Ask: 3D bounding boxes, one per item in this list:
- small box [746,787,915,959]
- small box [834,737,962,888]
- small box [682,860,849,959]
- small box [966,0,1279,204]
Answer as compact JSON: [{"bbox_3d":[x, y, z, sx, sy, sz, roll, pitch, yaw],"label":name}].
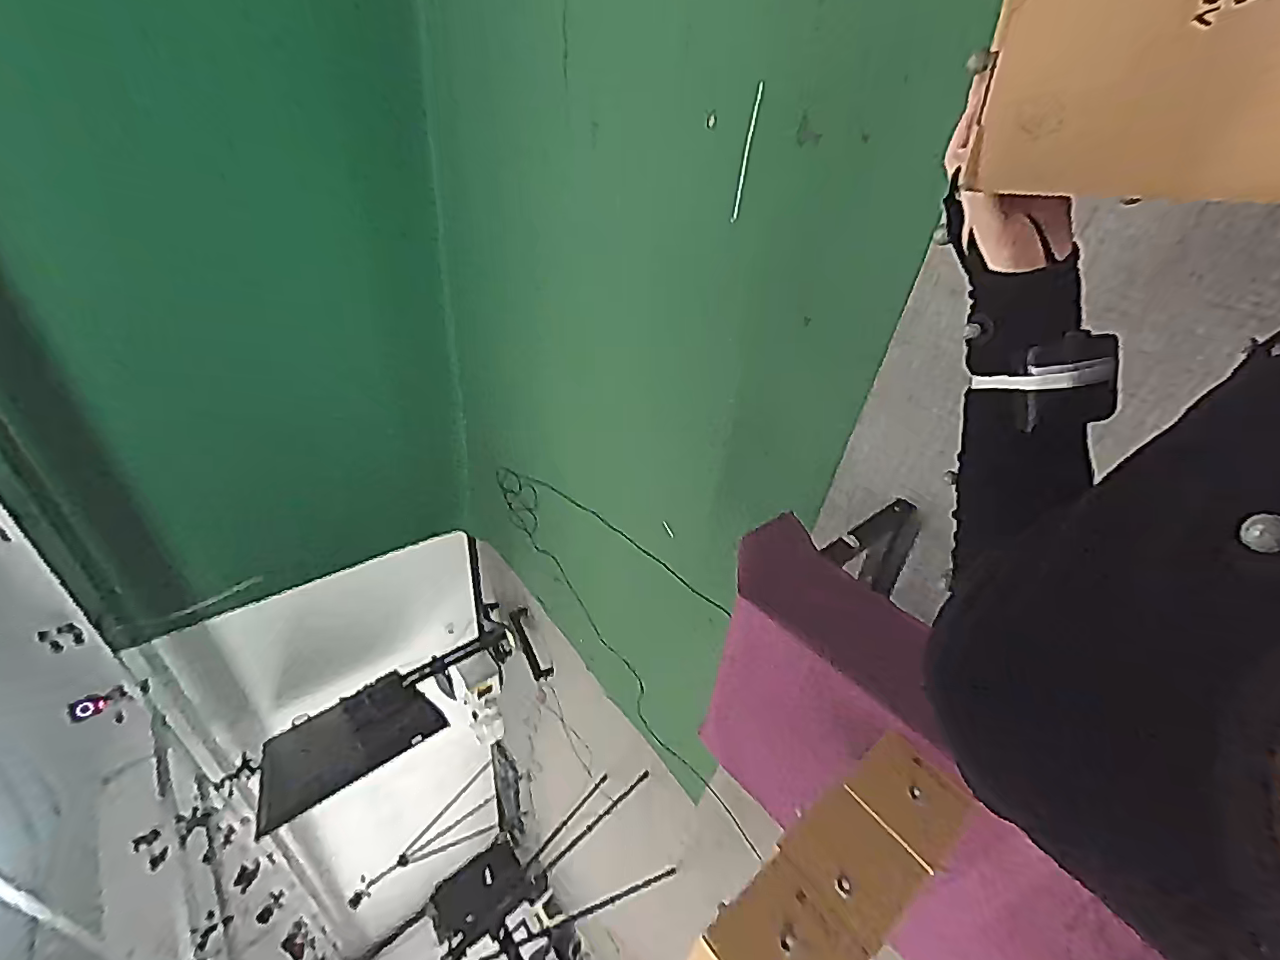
[{"bbox_3d":[0.305,0.649,0.876,0.179,0.176,0.168,40,135,35],"label":"small box"},{"bbox_3d":[0.437,0.602,0.964,0.168,0.176,0.179,39,136,36],"label":"small box"},{"bbox_3d":[0.180,0.705,0.786,0.168,0.176,0.179,40,135,35],"label":"small box"},{"bbox_3d":[0.284,-0.247,0.255,0.179,0.176,0.168,17,139,23],"label":"small box"}]
